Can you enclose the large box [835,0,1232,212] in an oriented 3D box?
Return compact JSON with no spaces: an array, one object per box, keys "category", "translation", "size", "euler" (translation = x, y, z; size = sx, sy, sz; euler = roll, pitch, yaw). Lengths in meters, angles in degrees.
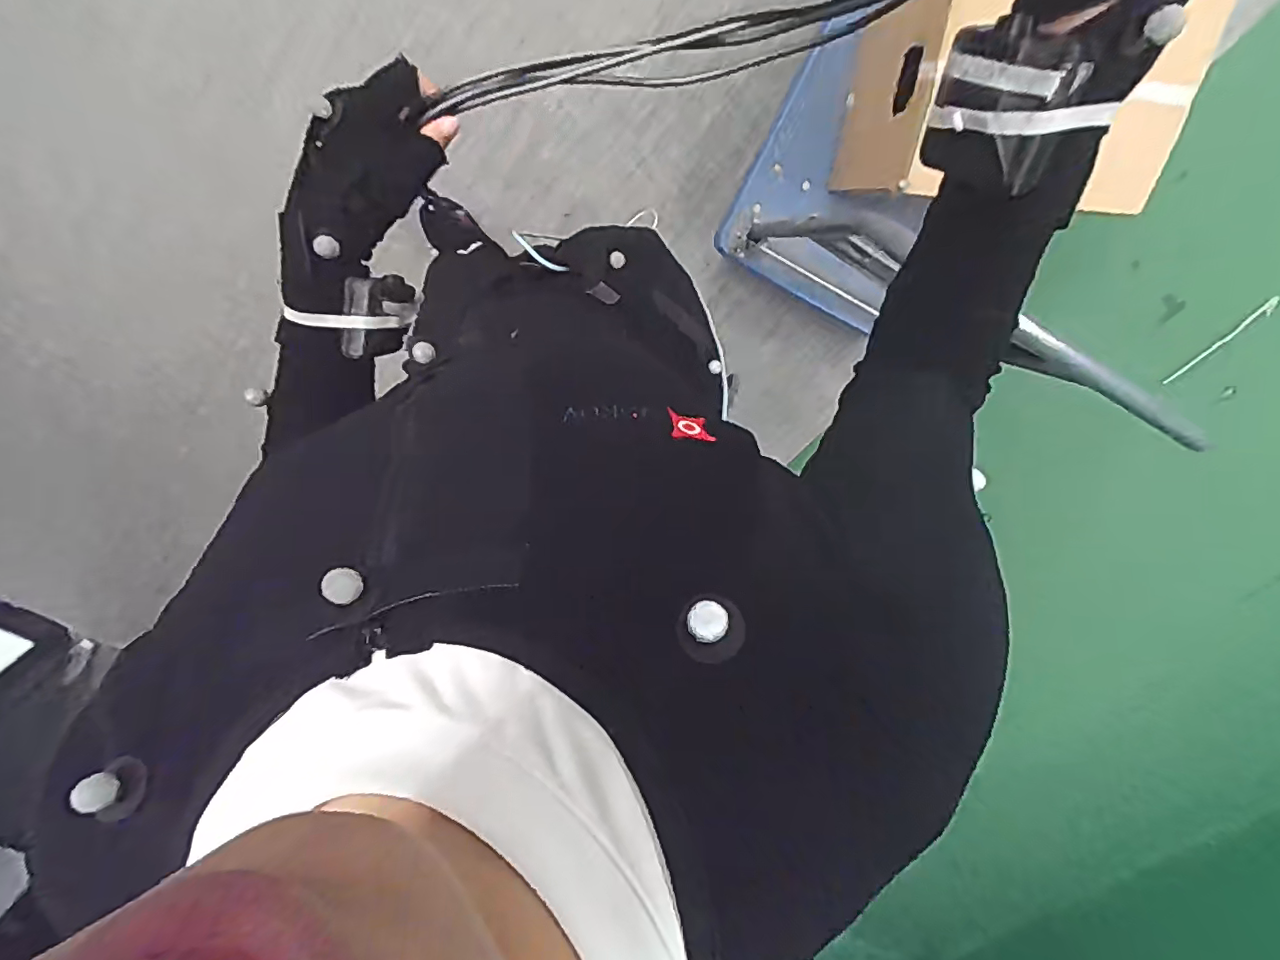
[{"category":"large box","translation":[0.613,-0.652,0.923],"size":[0.408,0.320,0.320],"euler":[3,117,-5]}]
